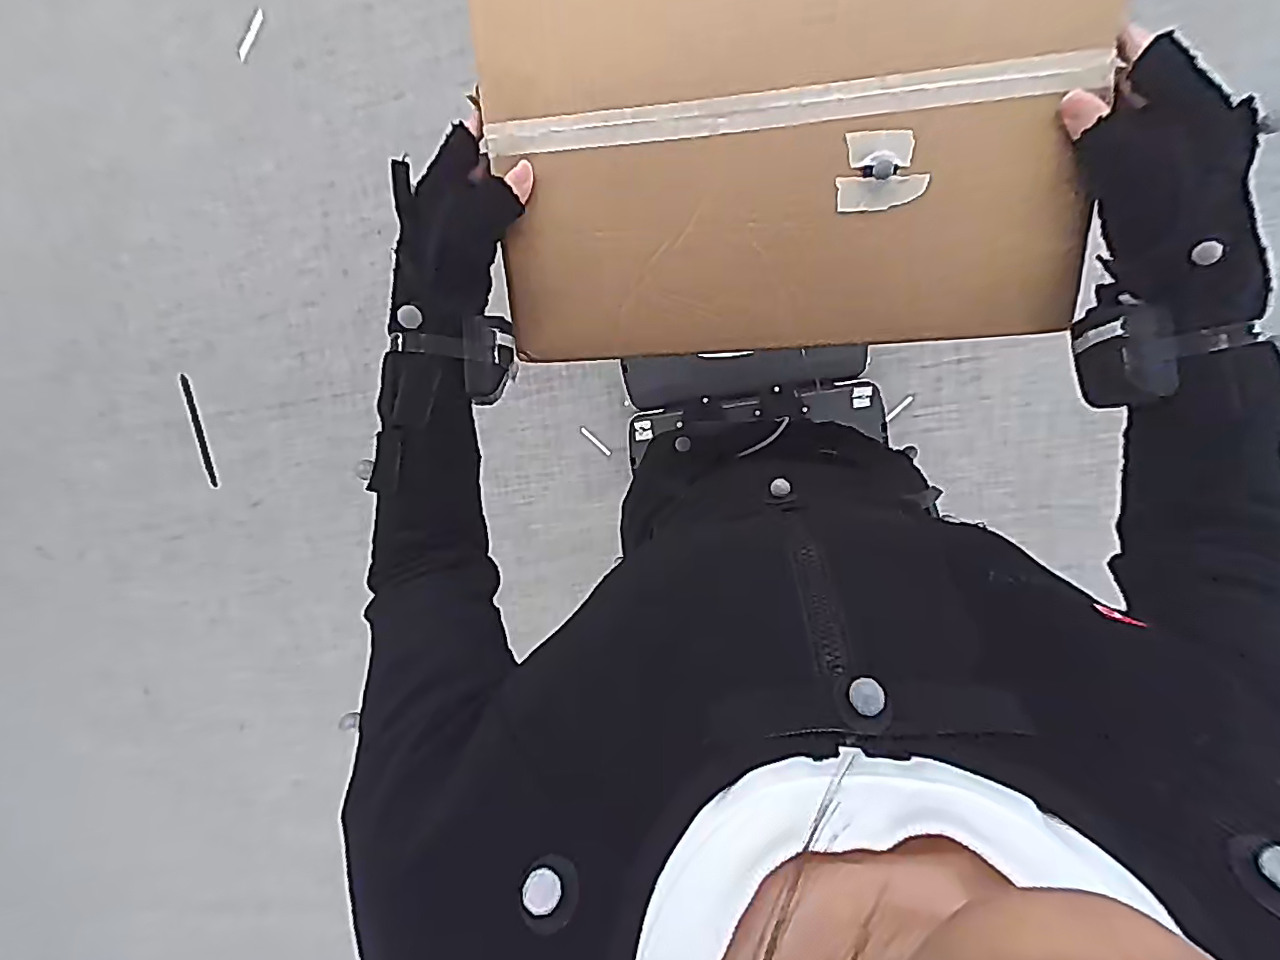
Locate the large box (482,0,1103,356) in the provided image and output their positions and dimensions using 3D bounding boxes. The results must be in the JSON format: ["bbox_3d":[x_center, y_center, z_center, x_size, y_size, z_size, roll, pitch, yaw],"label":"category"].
[{"bbox_3d":[0.108,-0.301,0.514,0.408,0.320,0.320,-2,108,7],"label":"large box"}]

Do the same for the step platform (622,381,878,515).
[{"bbox_3d":[0.294,-0.085,1.514,0.684,0.204,0.286,-8,98,12],"label":"step platform"}]
